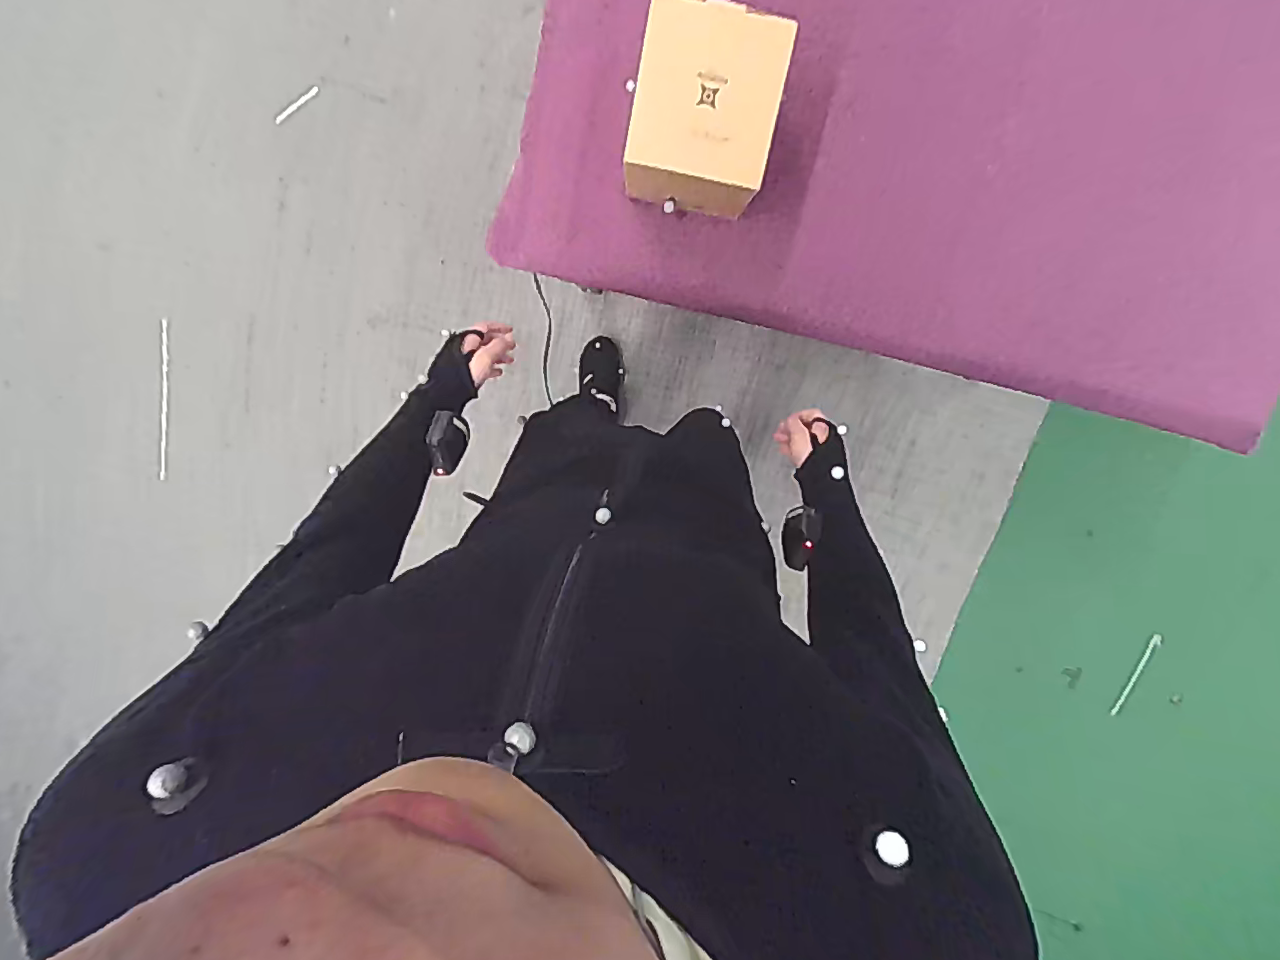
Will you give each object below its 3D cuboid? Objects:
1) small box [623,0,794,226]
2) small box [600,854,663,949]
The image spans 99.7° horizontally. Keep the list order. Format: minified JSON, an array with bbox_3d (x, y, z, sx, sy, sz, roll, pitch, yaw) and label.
[{"bbox_3d":[0.075,-0.448,0.689,0.168,0.176,0.179,11,104,-2],"label":"small box"},{"bbox_3d":[-0.027,1.424,1.833,0.168,0.176,0.179,18,104,-4],"label":"small box"}]
